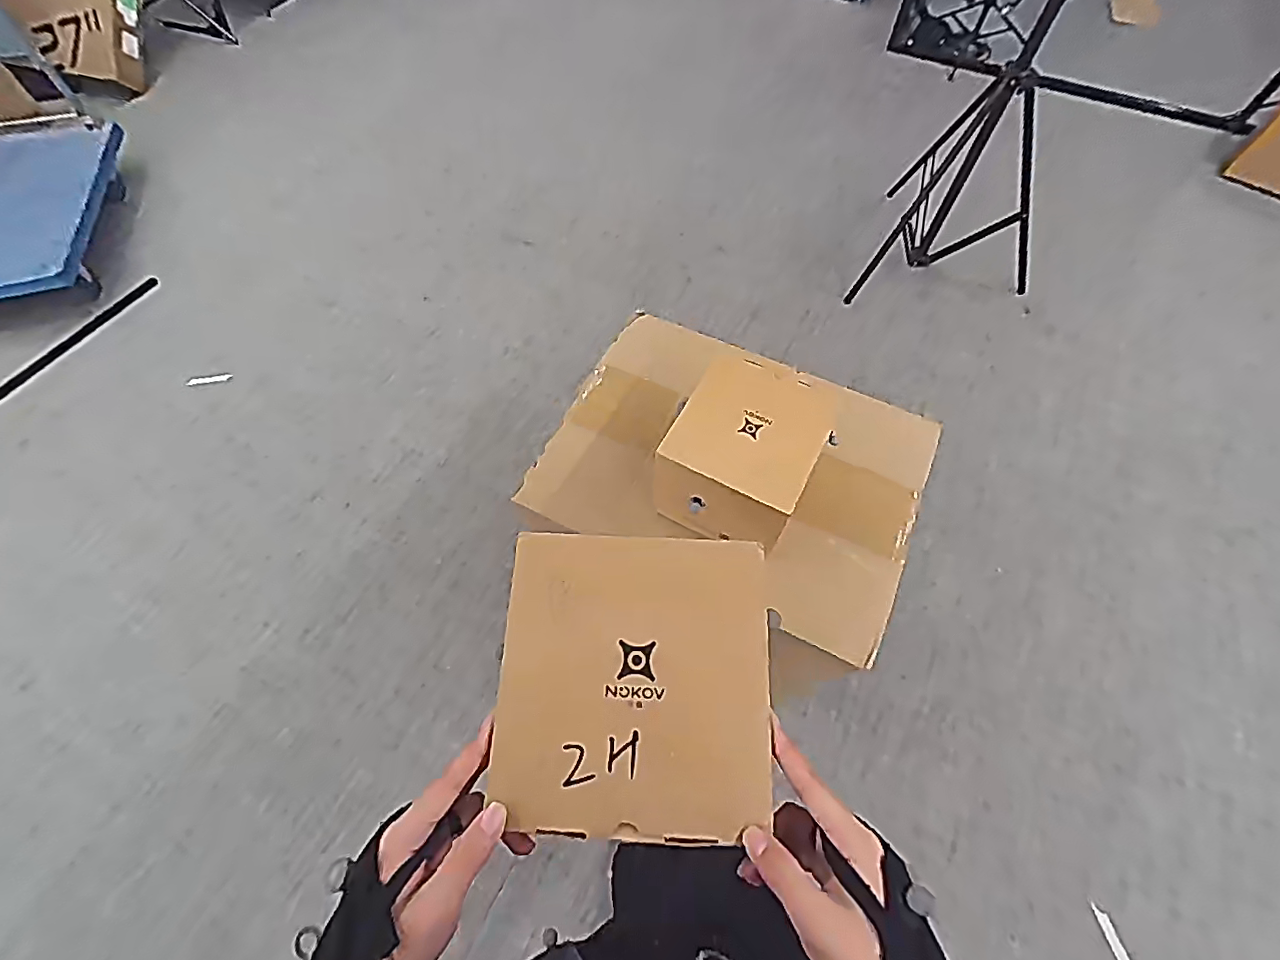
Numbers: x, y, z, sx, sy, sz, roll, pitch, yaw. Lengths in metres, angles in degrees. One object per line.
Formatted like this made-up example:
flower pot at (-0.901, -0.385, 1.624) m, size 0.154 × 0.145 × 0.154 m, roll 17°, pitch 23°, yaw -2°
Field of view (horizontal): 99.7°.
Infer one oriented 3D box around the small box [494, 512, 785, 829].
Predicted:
small box at (0.005, 0.135, 0.404) m, size 0.168 × 0.176 × 0.179 m, roll 3°, pitch 69°, yaw 3°

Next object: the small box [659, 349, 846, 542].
small box at (0.136, -0.028, 0.696) m, size 0.168 × 0.176 × 0.179 m, roll 26°, pitch 64°, yaw 14°
